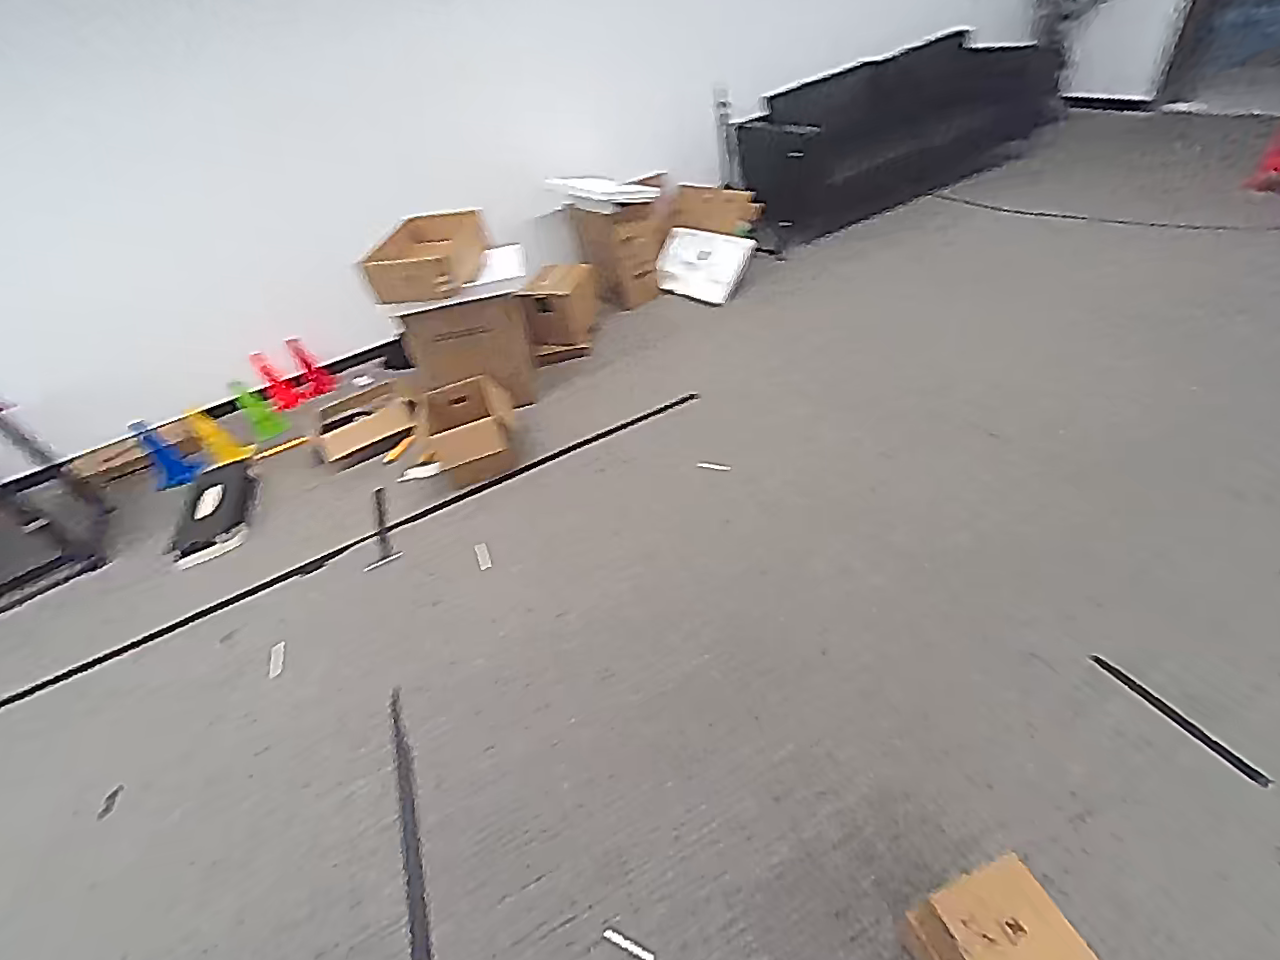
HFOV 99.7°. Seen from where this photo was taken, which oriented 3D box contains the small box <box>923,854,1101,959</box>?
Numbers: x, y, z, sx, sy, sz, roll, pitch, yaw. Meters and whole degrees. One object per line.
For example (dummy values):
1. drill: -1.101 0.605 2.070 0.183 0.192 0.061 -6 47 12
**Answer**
1. small box: 0.609 0.774 0.908 0.179 0.176 0.168 -22 40 -7
